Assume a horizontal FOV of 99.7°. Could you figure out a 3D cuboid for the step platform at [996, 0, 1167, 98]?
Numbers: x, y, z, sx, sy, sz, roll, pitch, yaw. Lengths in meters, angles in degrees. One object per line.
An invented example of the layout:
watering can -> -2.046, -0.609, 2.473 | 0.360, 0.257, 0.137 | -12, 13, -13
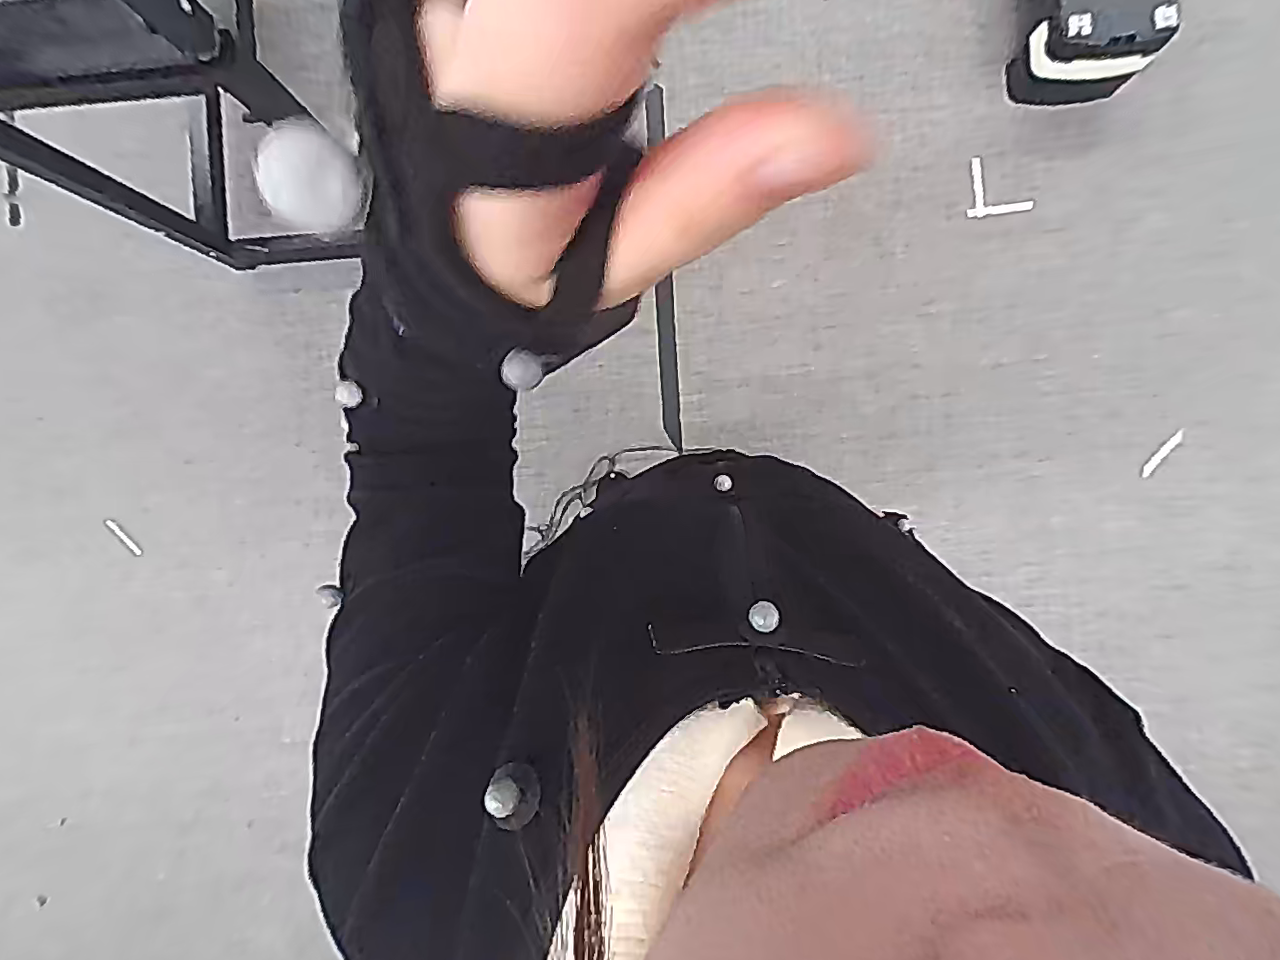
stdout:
step platform -> 1.099, -1.358, 1.343 | 0.286, 0.204, 0.684 | 2, 90, 2
